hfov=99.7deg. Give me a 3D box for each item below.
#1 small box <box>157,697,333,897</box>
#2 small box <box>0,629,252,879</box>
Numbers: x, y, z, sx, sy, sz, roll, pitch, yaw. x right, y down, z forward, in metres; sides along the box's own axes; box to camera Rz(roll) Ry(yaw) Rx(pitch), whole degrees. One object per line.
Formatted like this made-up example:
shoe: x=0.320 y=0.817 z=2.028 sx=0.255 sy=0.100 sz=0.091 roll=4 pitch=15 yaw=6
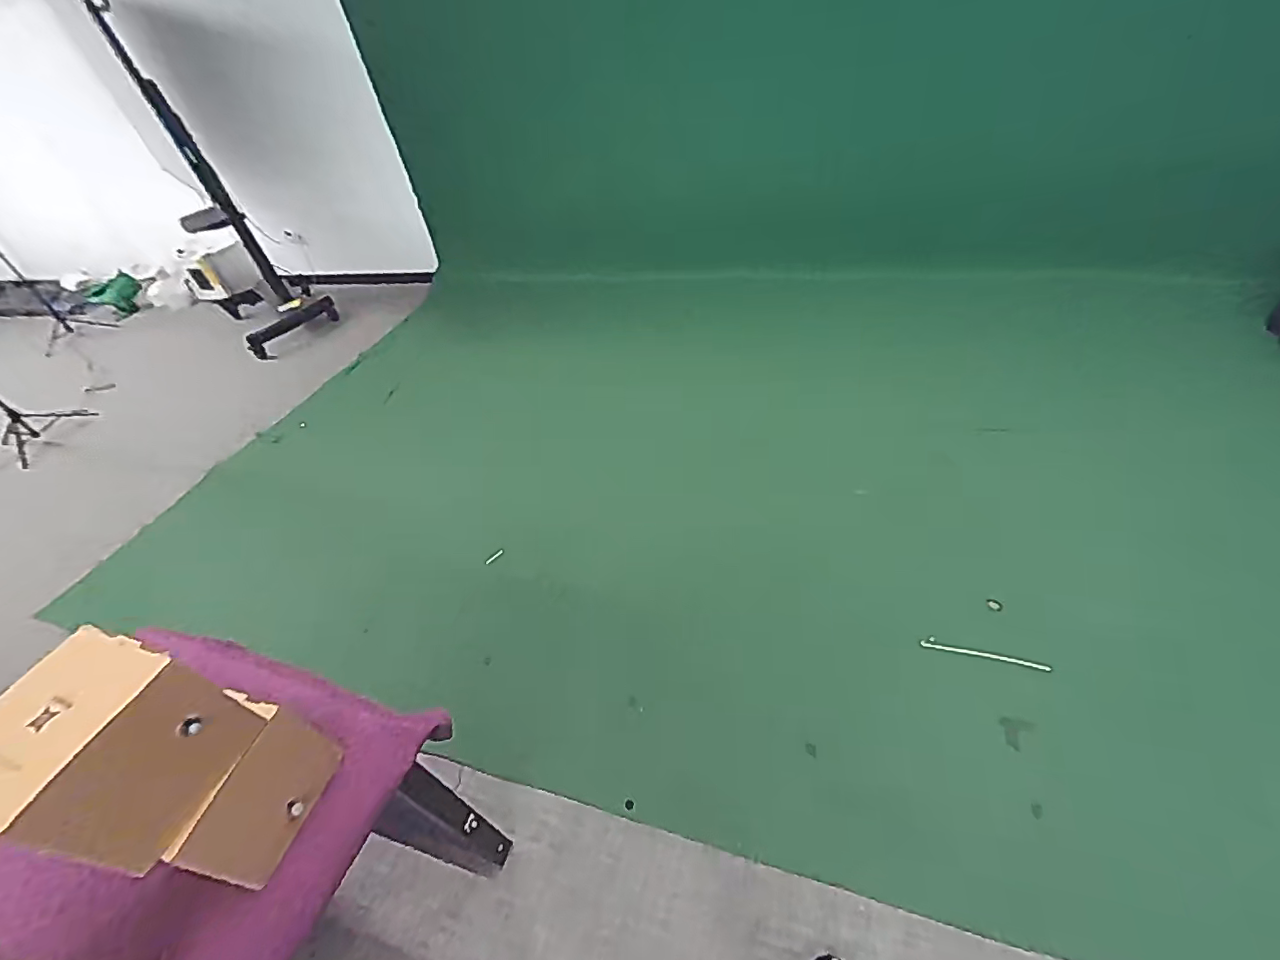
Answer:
small box: x=-0.549 y=0.413 z=0.718 sx=0.168 sy=0.176 sz=0.179 roll=4 pitch=44 yaw=16
small box: x=-0.584 y=0.301 z=0.603 sx=0.168 sy=0.176 sz=0.179 roll=9 pitch=47 yaw=21
